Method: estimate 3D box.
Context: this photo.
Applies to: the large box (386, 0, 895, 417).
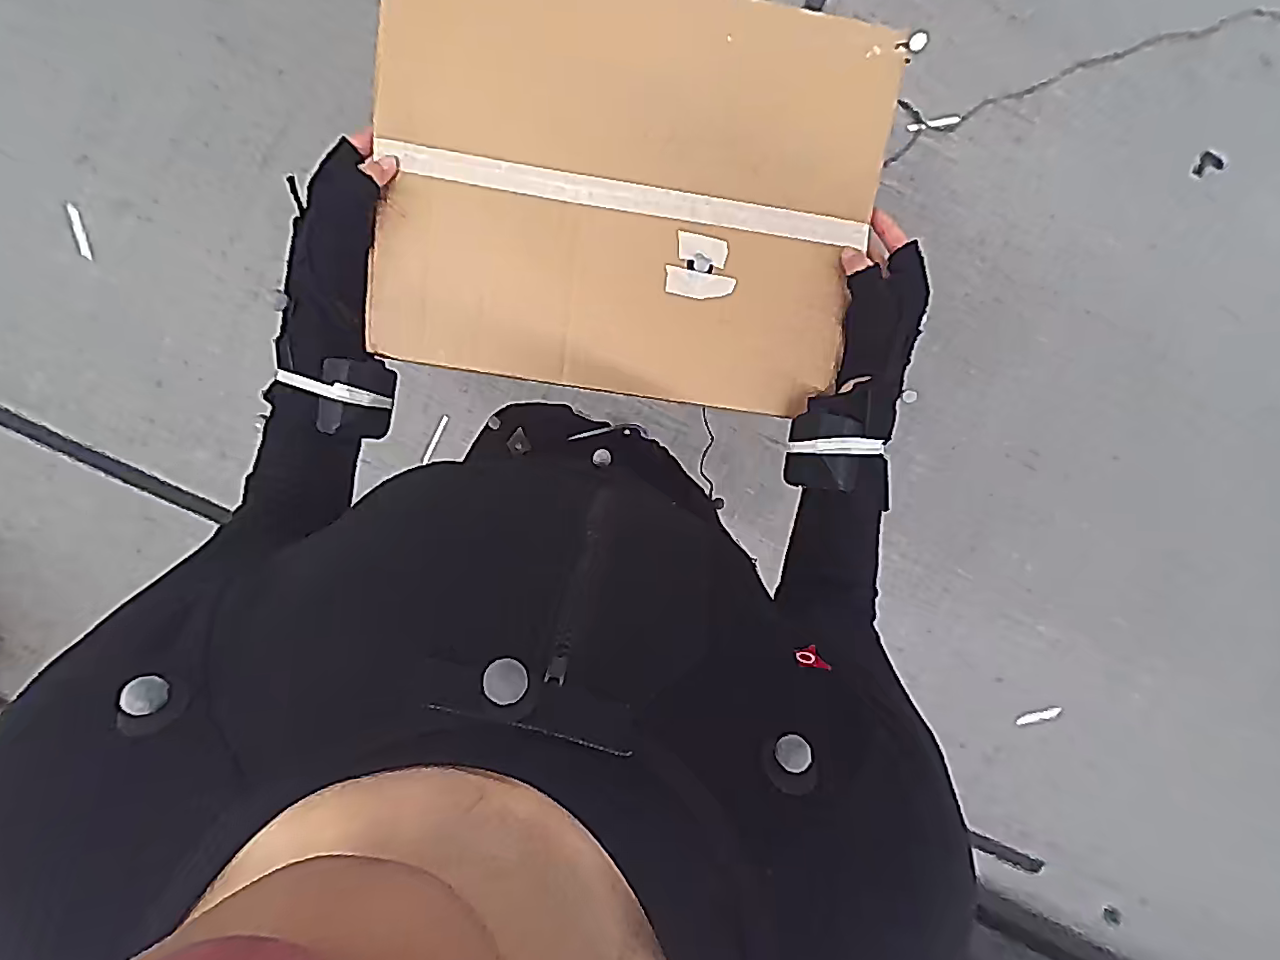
[{"bbox_3d":[-0.015,-0.260,0.601,0.408,0.320,0.320,8,102,-5],"label":"large box"}]
